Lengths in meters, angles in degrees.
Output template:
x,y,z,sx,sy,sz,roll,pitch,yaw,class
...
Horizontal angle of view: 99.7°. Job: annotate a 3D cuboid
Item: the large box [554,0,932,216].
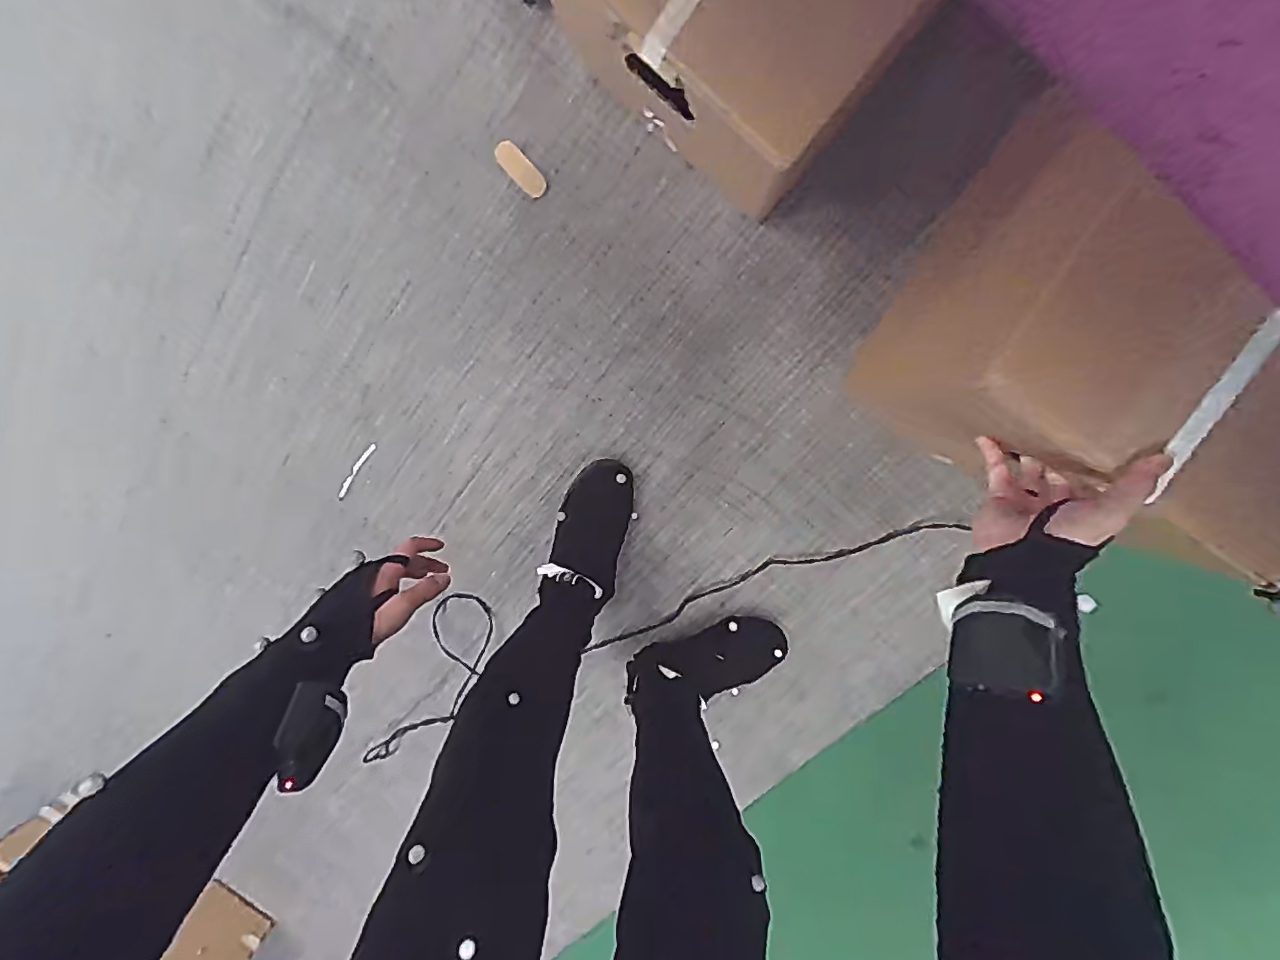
x,y,z,sx,sy,sz,roll,pitch,yaw,class
0.151,-0.557,0.541,0.320,0.320,0.408,39,108,-6,large box
